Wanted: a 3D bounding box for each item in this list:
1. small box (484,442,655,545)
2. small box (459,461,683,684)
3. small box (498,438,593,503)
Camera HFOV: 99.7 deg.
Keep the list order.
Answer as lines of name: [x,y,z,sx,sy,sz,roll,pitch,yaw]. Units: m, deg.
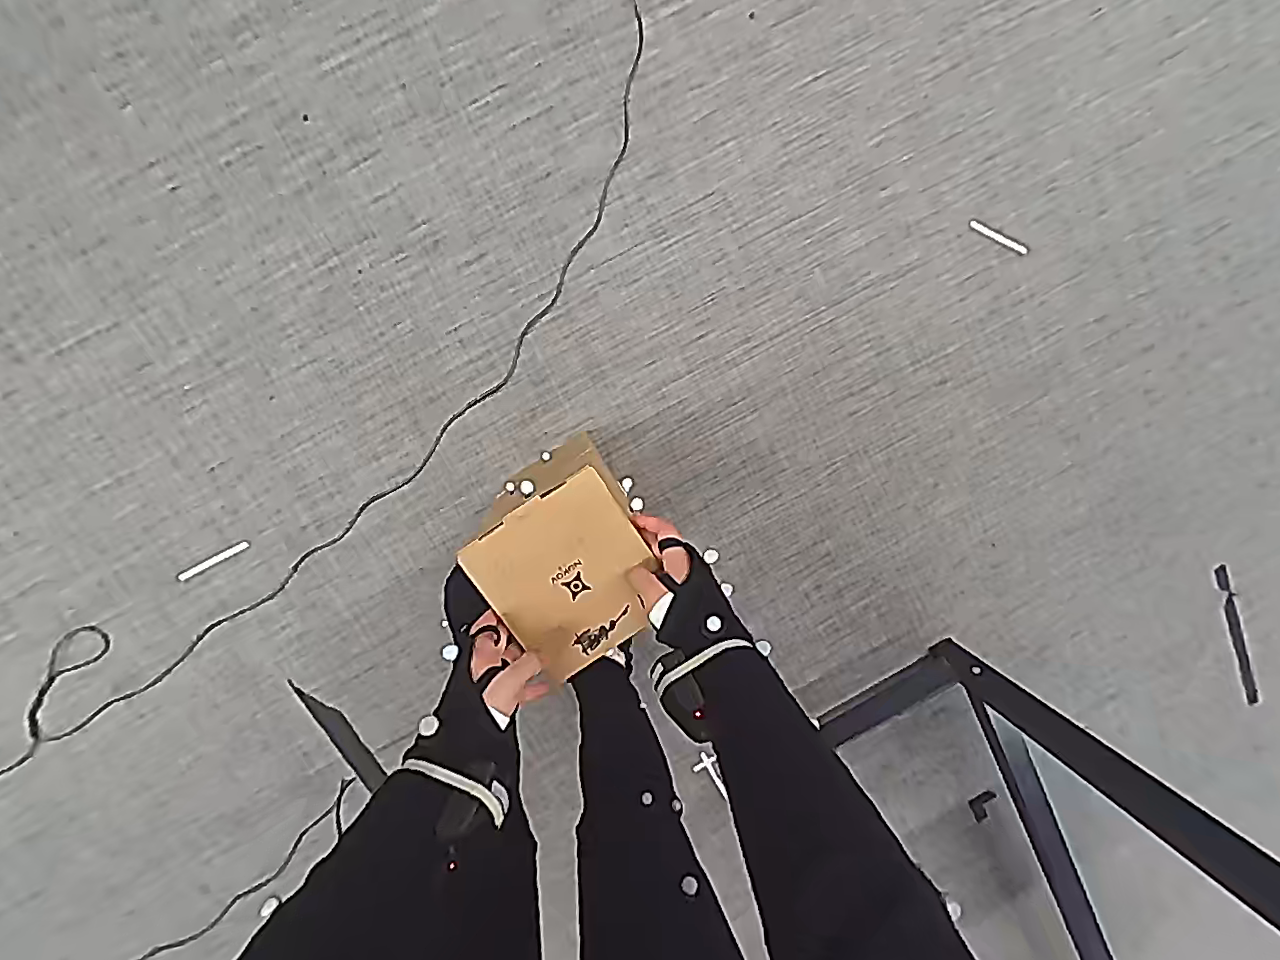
small box: [-0.102,0.061,0.802,0.179,0.176,0.168,-35,103,-2]
small box: [-0.075,0.090,0.627,0.168,0.176,0.179,-34,99,0]
small box: [-0.126,0.039,0.961,0.179,0.176,0.168,-32,101,0]
